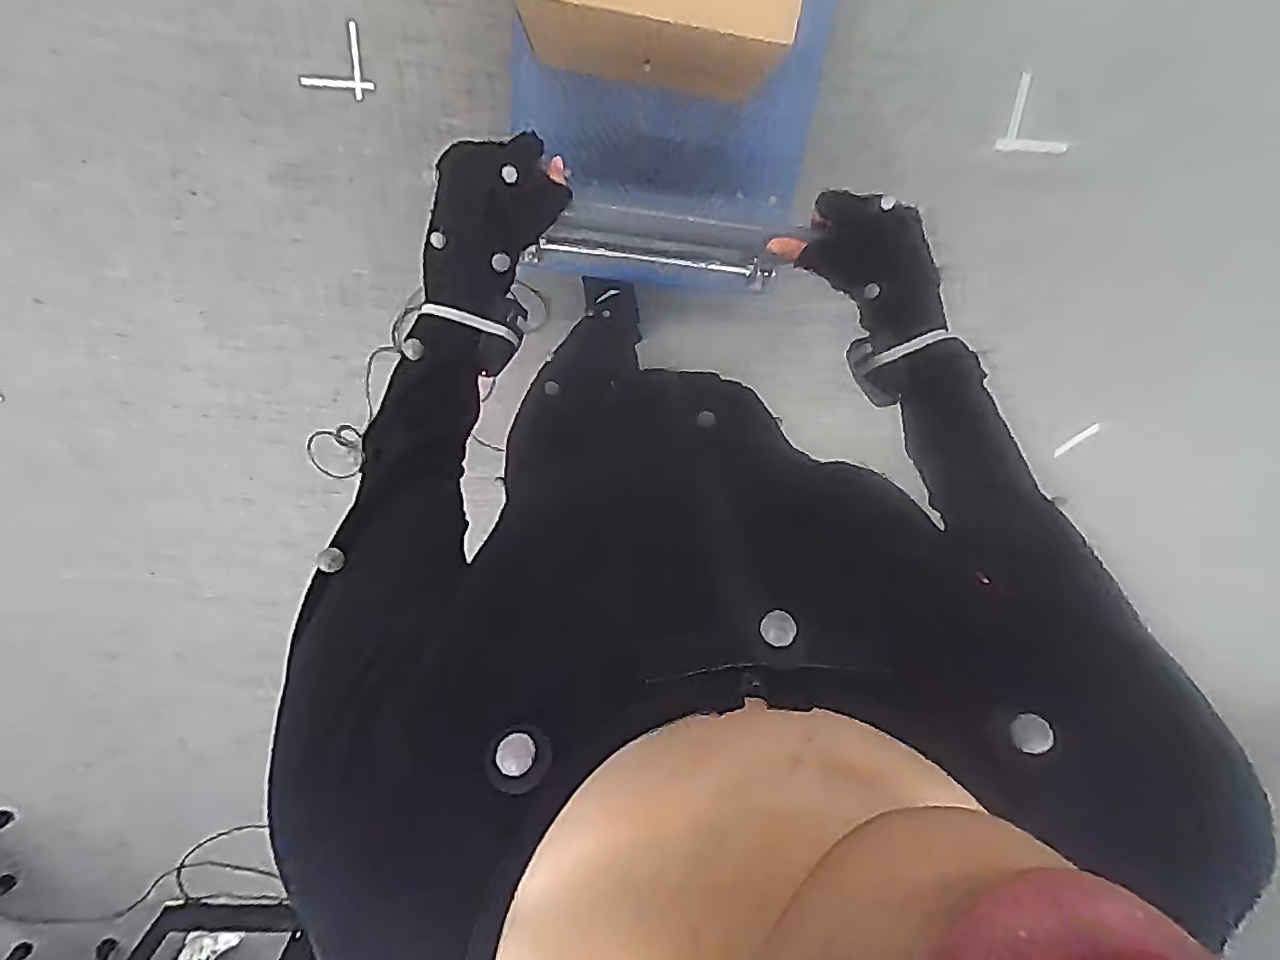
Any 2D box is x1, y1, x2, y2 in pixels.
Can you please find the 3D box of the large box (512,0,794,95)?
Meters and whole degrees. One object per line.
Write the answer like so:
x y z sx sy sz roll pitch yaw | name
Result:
0.031 -0.845 0.844 0.408 0.320 0.320 7 111 -4 | large box
